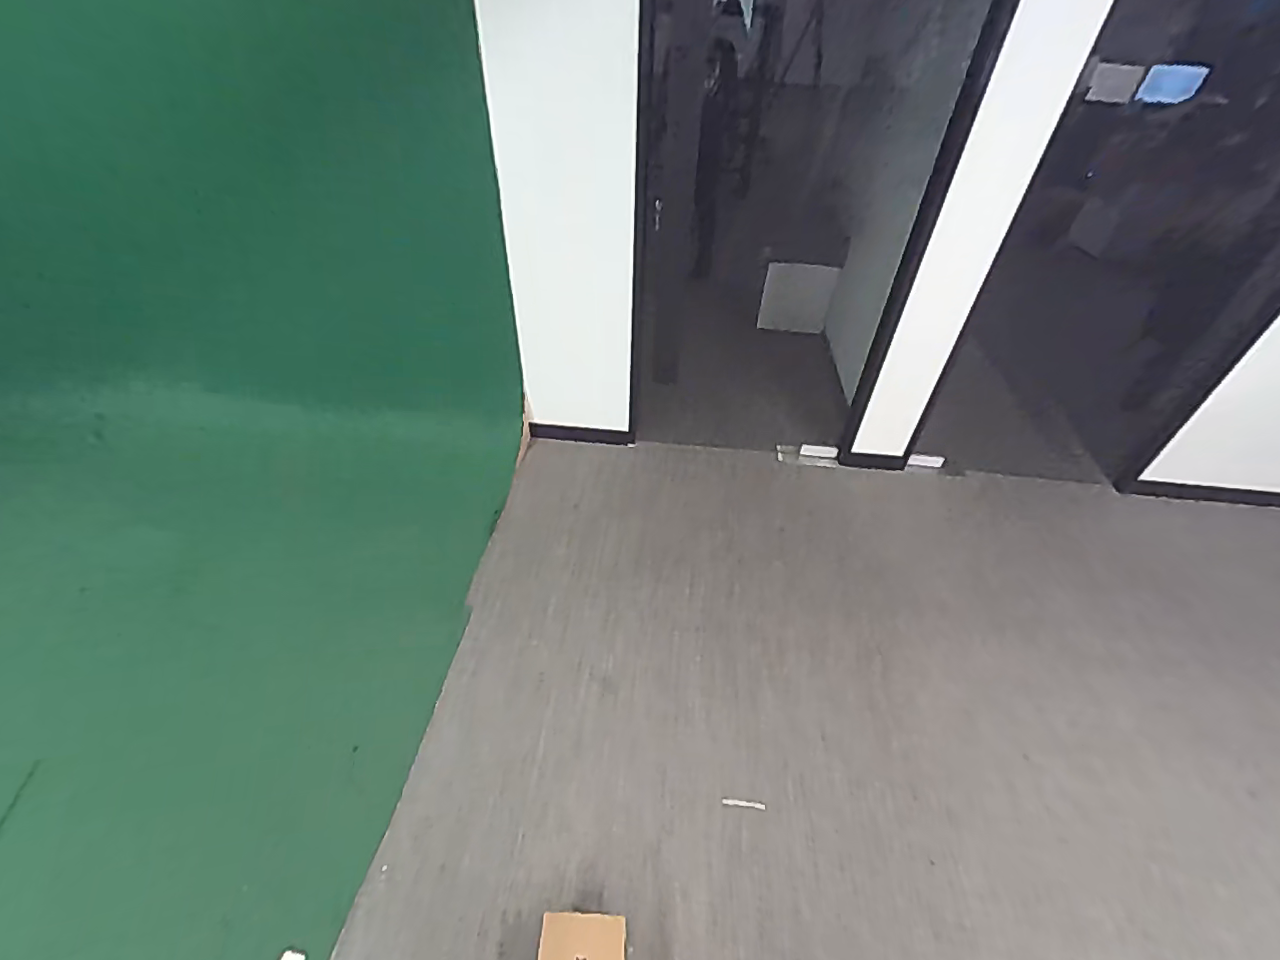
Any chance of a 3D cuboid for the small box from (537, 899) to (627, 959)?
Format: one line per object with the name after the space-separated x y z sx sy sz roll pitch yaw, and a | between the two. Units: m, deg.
-0.116 0.961 1.068 0.168 0.176 0.179 3 42 1 | small box
